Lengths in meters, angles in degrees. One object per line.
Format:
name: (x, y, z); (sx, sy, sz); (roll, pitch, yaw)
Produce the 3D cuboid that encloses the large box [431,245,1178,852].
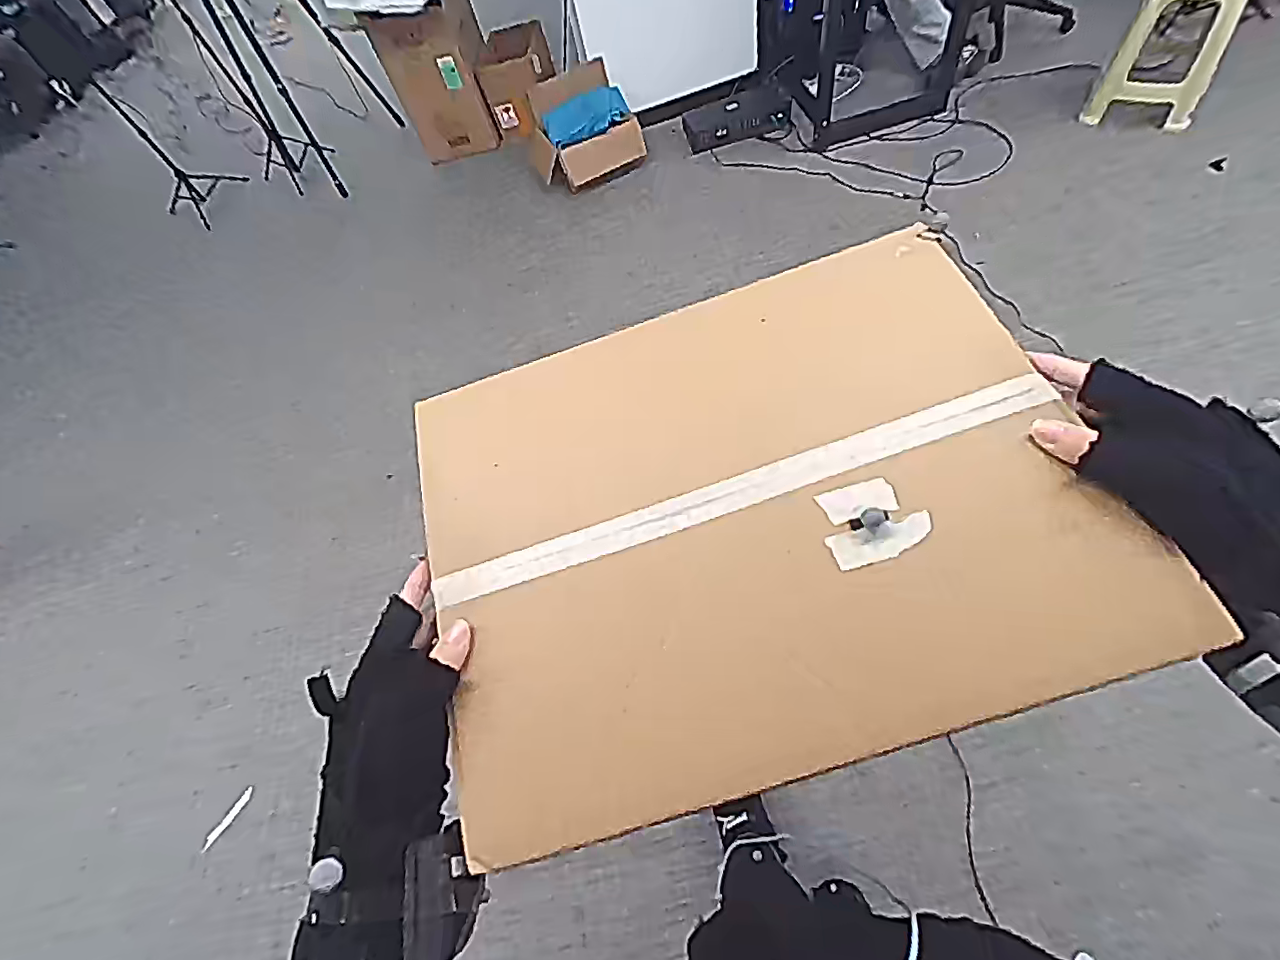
large box: (0.085, 0.073, 0.491); (0.408, 0.320, 0.320); (-19, 64, 2)
